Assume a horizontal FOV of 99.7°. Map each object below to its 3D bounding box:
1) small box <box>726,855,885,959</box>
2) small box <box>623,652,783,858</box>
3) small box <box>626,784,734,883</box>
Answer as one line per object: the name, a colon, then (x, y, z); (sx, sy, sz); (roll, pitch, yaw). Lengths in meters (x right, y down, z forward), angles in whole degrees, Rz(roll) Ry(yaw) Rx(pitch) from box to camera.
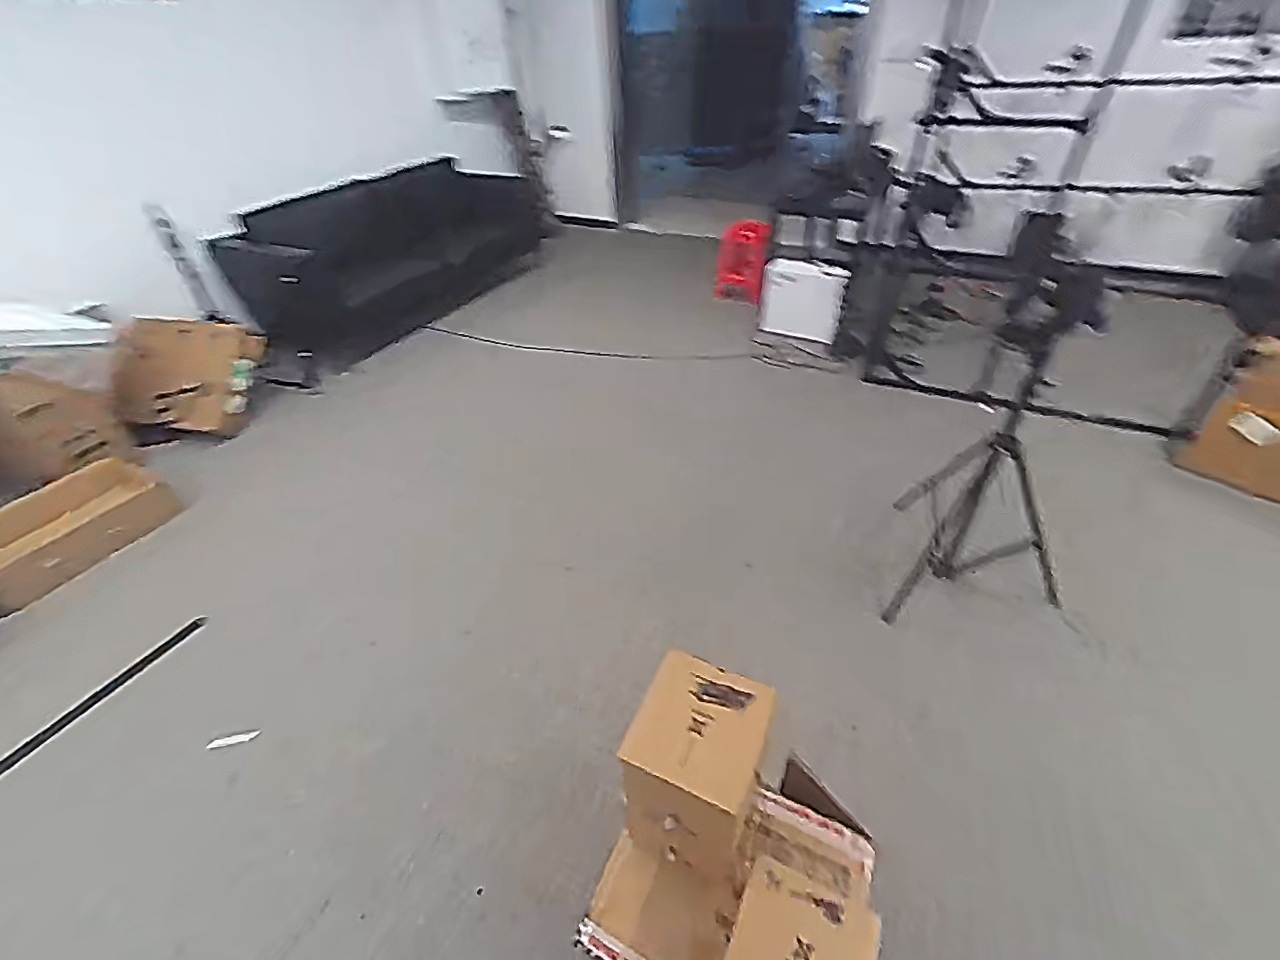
small box: (0.201, 0.647, 0.706); (0.168, 0.176, 0.179); (17, 45, 22)
small box: (0.092, 0.387, 0.769); (0.168, 0.176, 0.179); (15, 45, 24)
small box: (0.091, 0.507, 0.882); (0.168, 0.176, 0.179); (13, 44, 22)
